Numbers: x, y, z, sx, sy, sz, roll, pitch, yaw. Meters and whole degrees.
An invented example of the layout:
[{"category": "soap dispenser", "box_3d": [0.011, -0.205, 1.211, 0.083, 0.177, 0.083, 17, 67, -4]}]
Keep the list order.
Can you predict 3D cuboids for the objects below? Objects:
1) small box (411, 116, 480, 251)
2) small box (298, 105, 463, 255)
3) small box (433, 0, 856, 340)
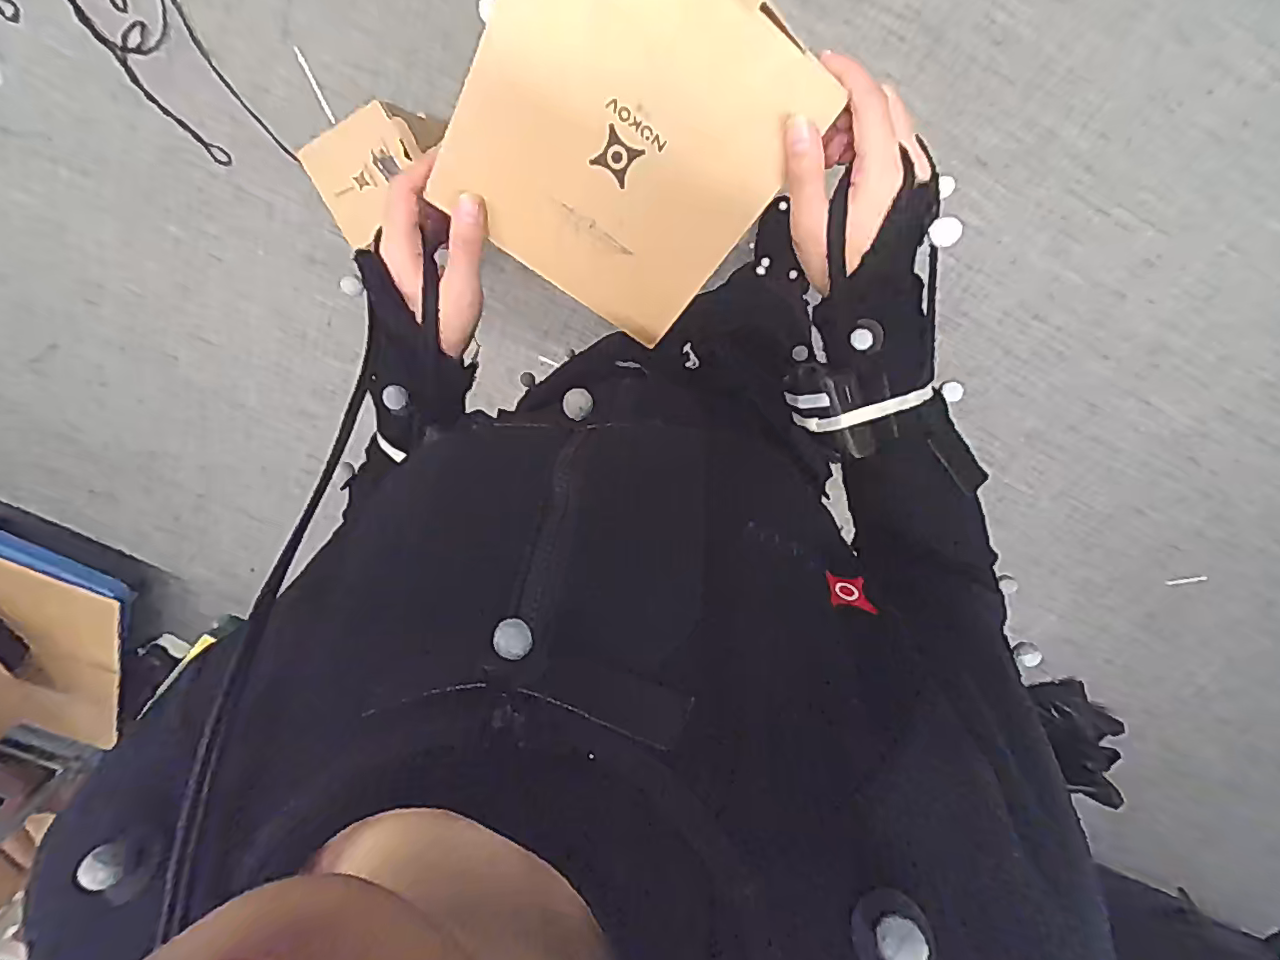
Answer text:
[{"category": "small box", "box_3d": [-0.413, -0.590, 1.094, 0.168, 0.176, 0.179, -26, 110, 16]}, {"category": "small box", "box_3d": [-0.434, -0.515, 0.948, 0.179, 0.176, 0.168, -20, 110, 14]}, {"category": "small box", "box_3d": [0.000, -0.234, 0.348, 0.168, 0.176, 0.179, 30, 128, -18]}]
